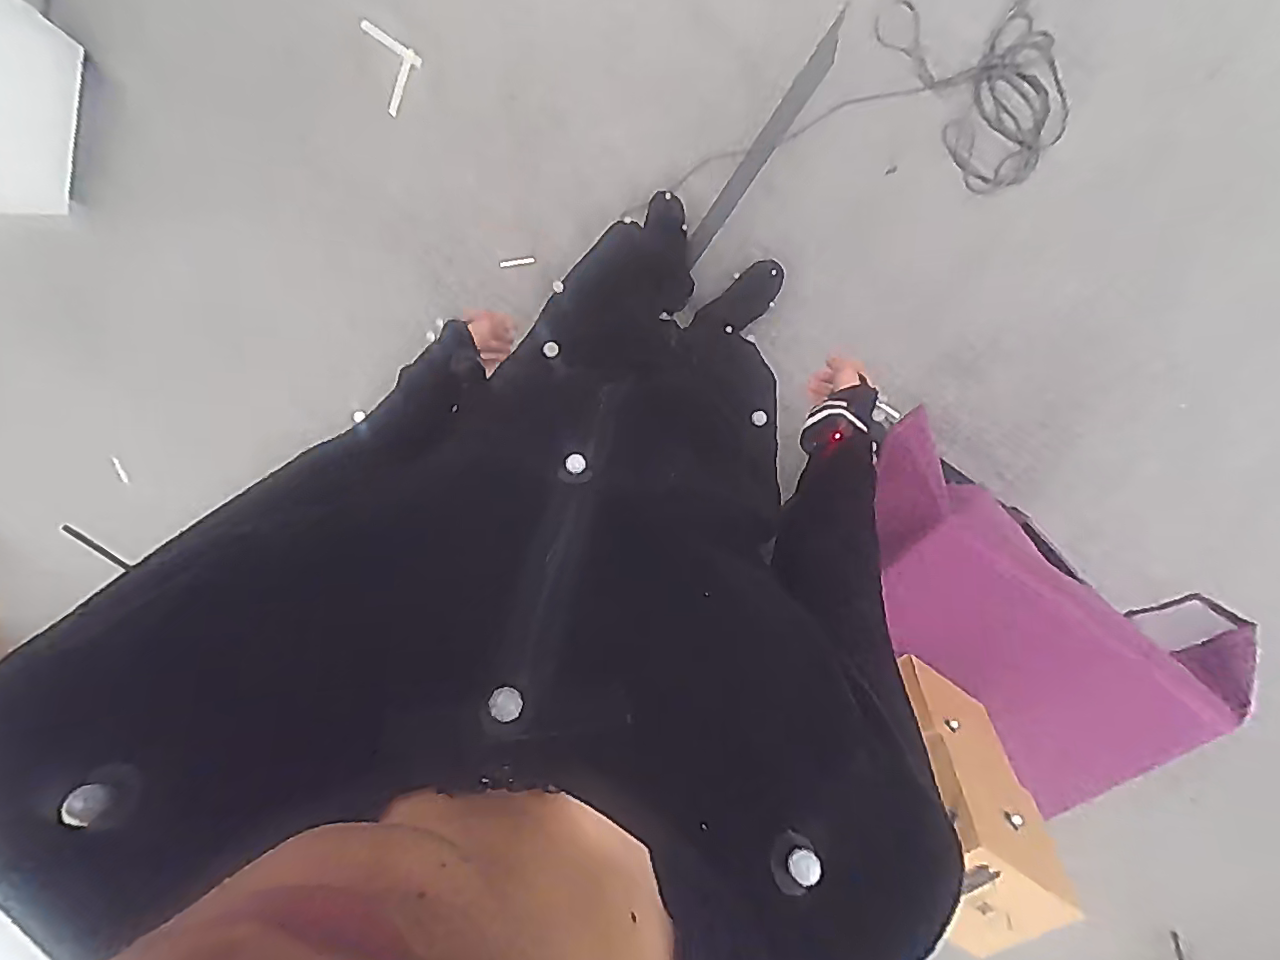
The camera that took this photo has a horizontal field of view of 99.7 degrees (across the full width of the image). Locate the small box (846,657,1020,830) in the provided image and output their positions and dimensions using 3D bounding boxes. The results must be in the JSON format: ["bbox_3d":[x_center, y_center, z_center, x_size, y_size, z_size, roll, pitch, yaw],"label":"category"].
[{"bbox_3d":[0.479,0.438,0.915,0.179,0.176,0.168,35,117,-4],"label":"small box"}]
